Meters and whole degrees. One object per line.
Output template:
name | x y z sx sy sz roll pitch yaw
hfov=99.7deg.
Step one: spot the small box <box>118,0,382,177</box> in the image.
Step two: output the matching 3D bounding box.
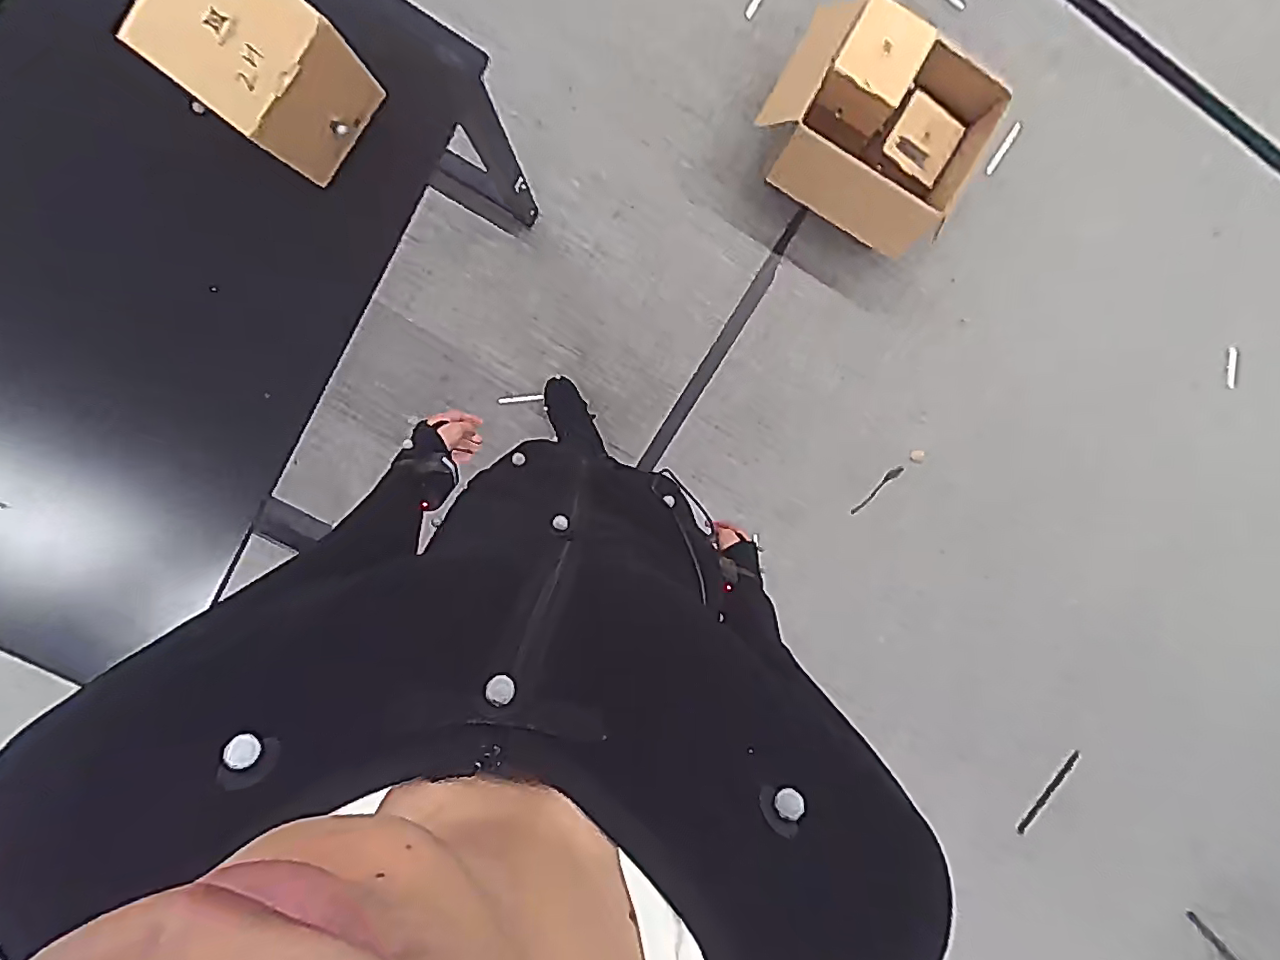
small box | -0.477 -0.533 0.692 0.179 0.176 0.168 38 97 -8
